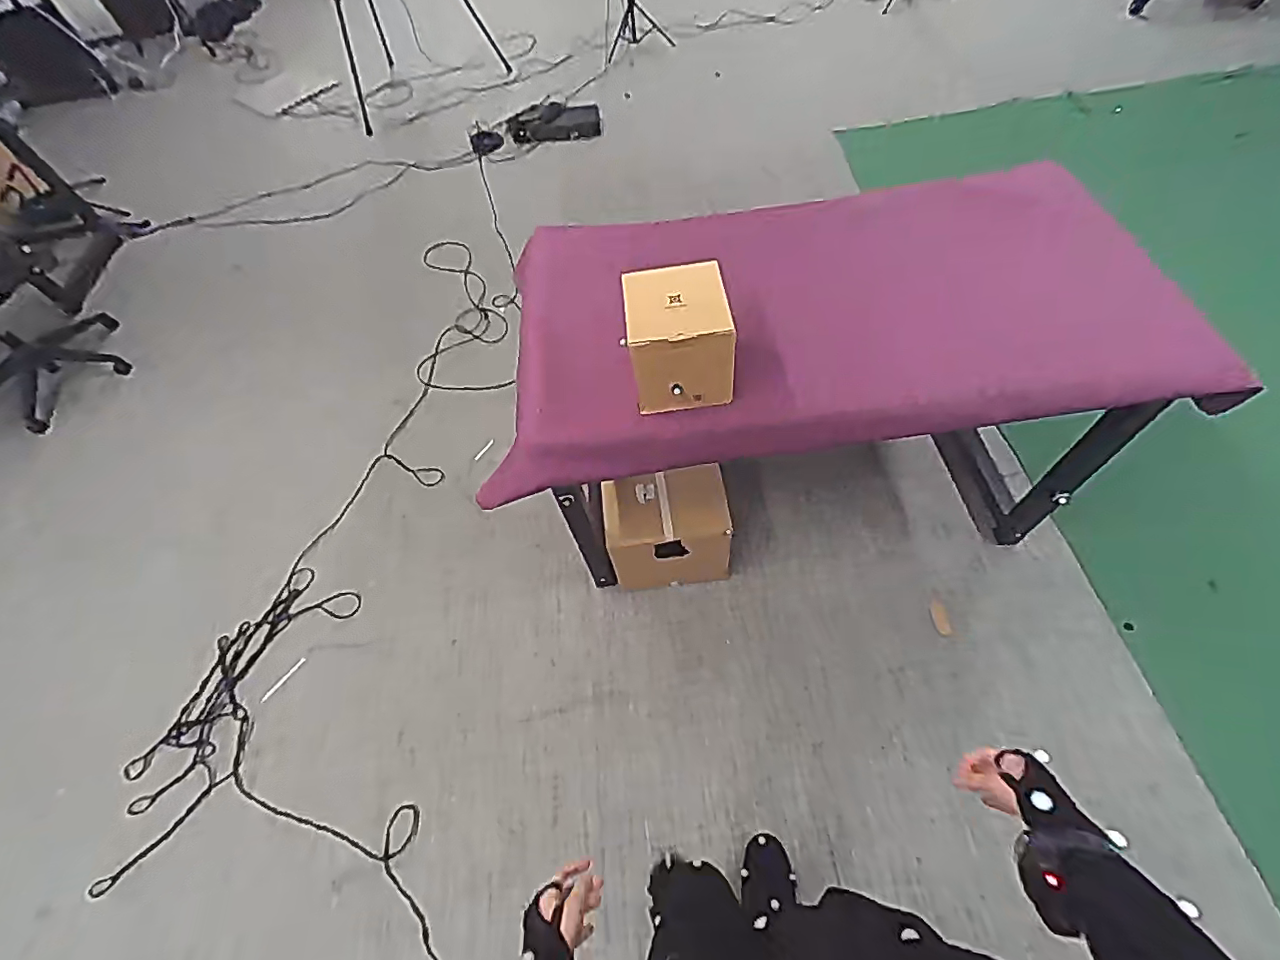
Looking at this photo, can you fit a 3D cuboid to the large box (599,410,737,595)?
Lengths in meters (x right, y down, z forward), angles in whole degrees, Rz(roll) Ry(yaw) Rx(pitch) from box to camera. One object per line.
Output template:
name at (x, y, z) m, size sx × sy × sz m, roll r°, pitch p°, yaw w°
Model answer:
large box at (0.074, 0.069, 1.525) m, size 0.320 × 0.320 × 0.408 m, roll -9°, pitch 58°, yaw 3°

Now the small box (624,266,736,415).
small box at (0.065, -0.236, 0.930) m, size 0.168 × 0.176 × 0.179 m, roll -7°, pitch 57°, yaw 2°
